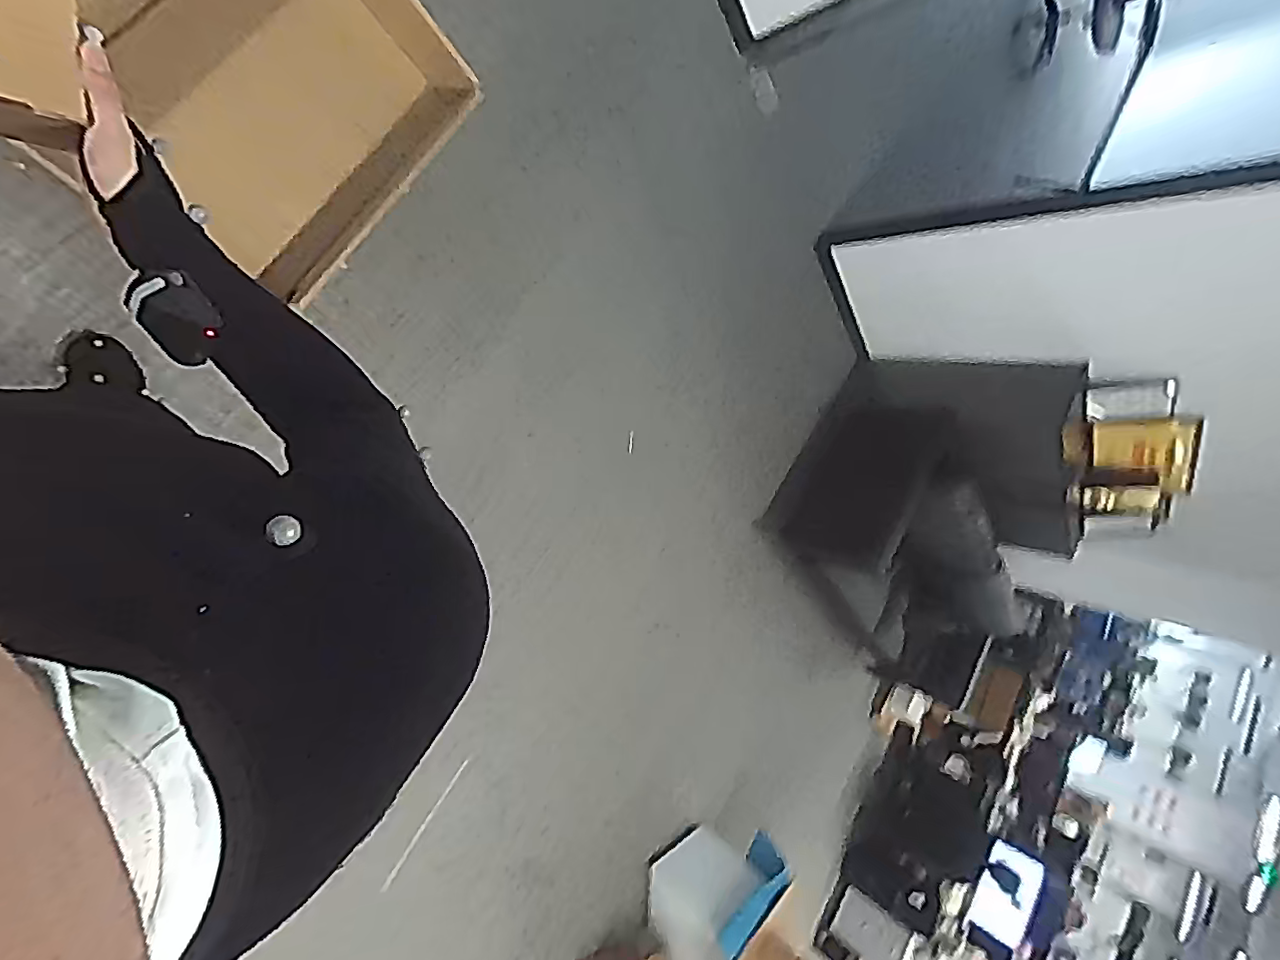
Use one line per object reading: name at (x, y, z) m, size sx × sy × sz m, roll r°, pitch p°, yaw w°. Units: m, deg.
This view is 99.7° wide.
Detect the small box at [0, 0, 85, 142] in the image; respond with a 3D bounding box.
small box at (-0.522, -0.368, 0.384) m, size 0.168 × 0.176 × 0.179 m, roll -10°, pitch 111°, yaw -45°
